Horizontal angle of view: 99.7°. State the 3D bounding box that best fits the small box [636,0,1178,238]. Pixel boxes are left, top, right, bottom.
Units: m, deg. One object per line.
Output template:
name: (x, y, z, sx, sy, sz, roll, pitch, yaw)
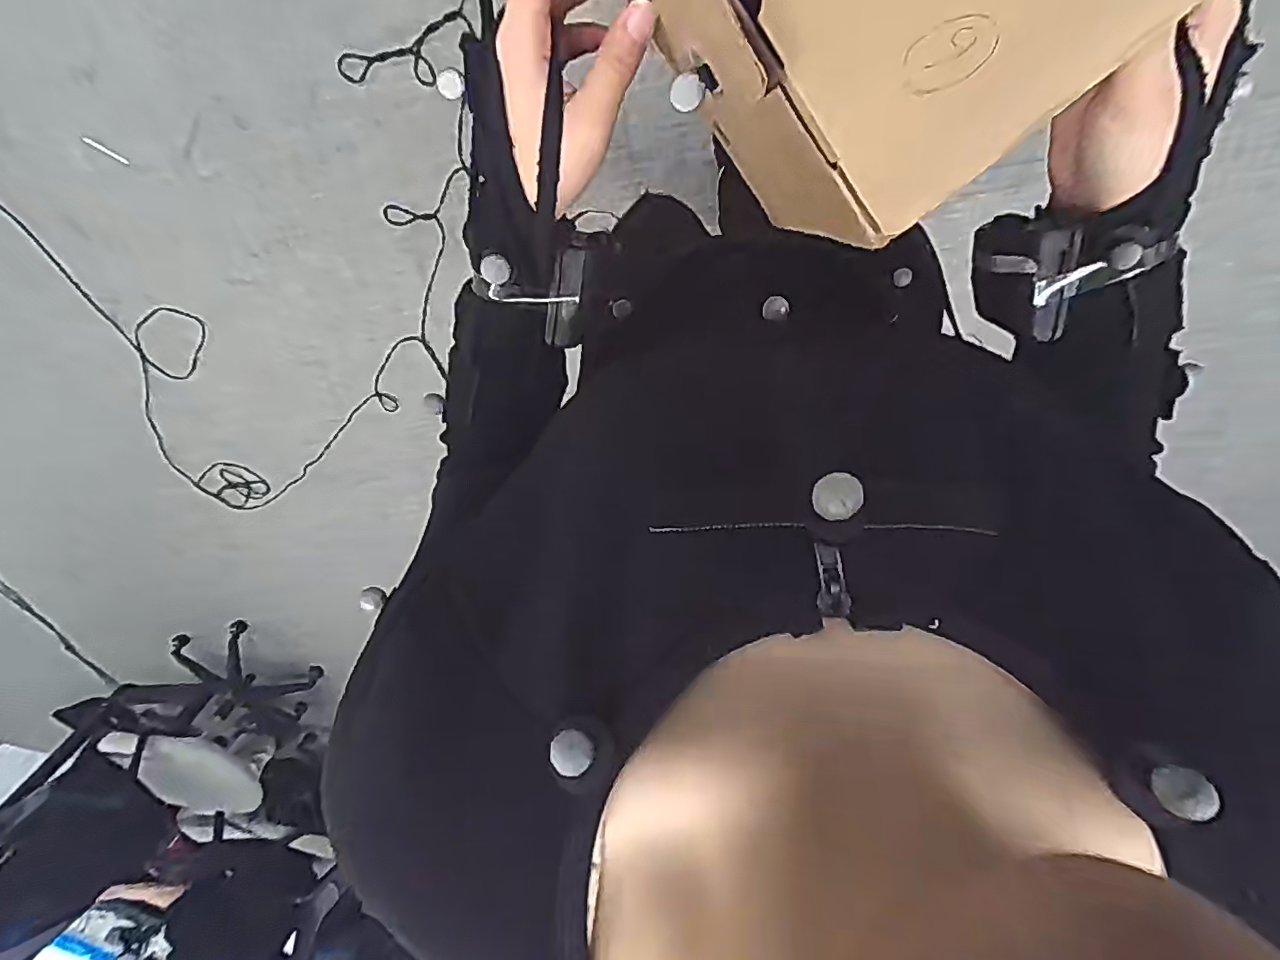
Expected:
small box: (0.094, -0.222, 0.206, 0.179, 0.176, 0.168, -37, 111, 19)
